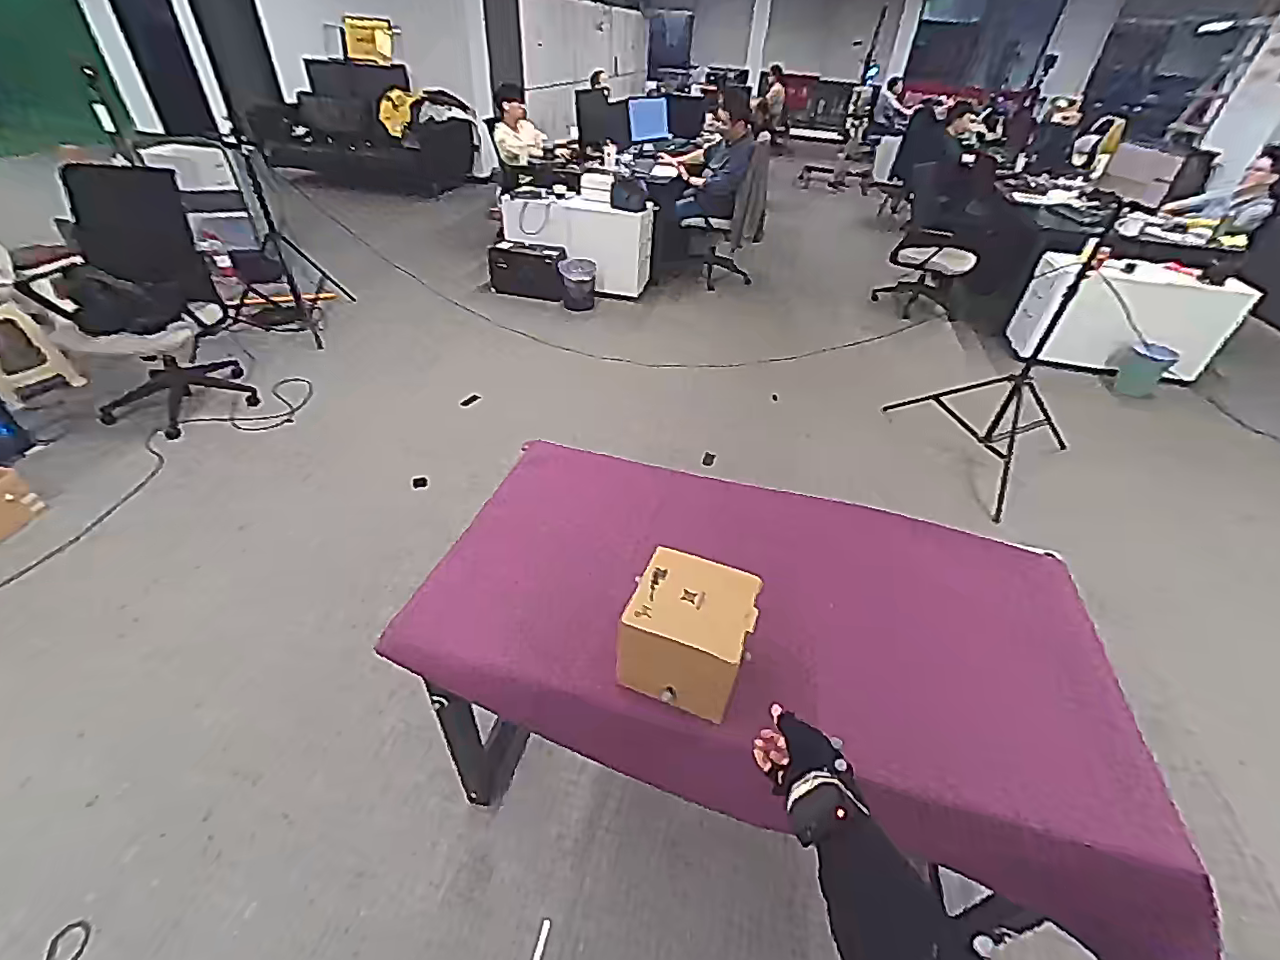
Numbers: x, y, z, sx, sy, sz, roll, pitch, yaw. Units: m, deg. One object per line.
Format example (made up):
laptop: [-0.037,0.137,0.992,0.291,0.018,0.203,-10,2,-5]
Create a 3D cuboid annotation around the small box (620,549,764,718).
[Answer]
small box: [0.079,0.245,0.858,0.179,0.176,0.168,17,40,14]
